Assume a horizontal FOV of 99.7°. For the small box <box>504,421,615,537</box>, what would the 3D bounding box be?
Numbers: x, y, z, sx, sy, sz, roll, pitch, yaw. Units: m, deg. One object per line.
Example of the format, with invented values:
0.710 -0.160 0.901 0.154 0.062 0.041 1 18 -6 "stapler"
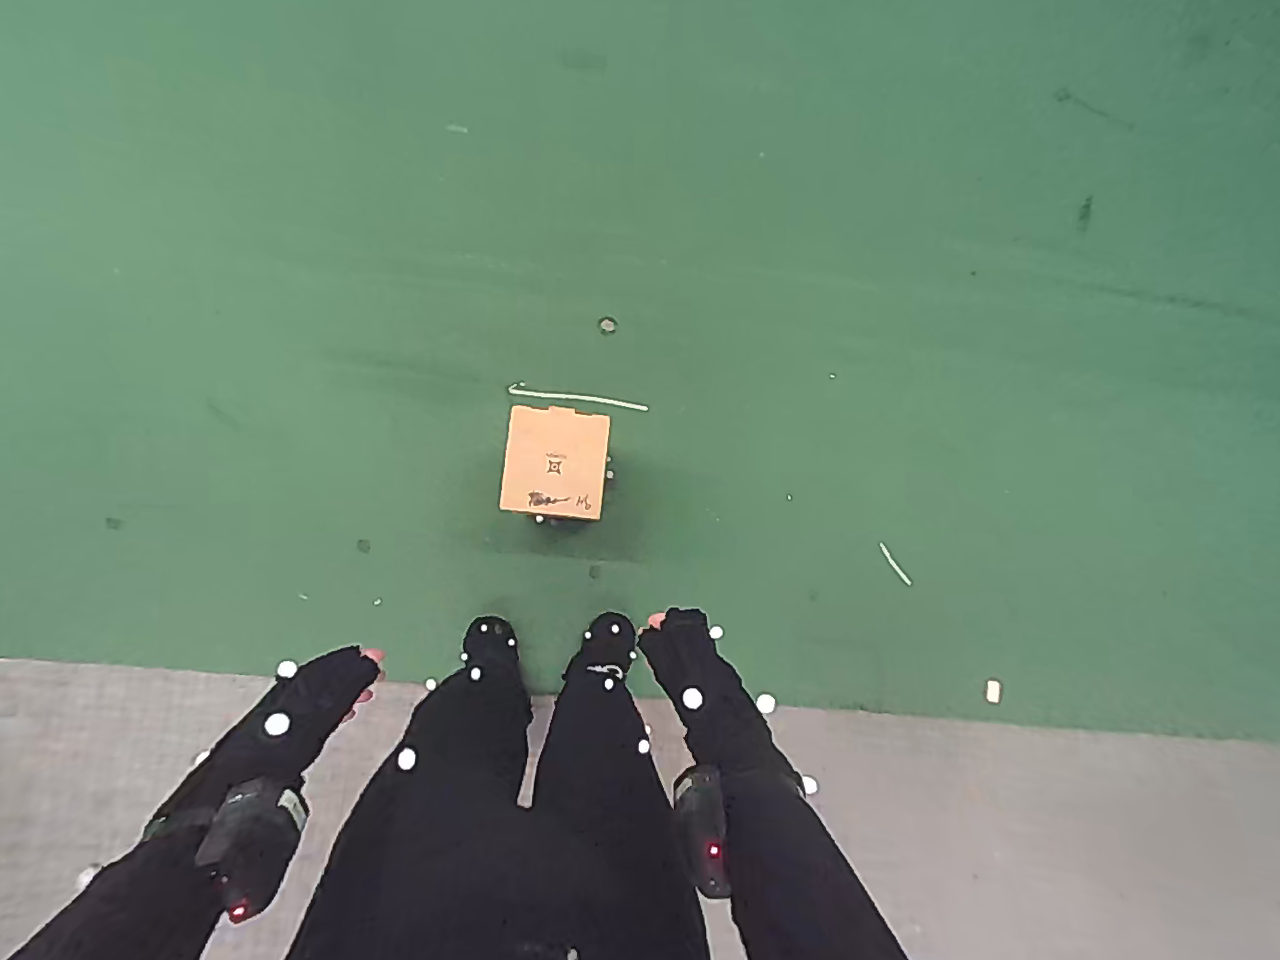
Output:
-0.138 0.006 0.968 0.168 0.176 0.179 6 82 -3 "small box"
